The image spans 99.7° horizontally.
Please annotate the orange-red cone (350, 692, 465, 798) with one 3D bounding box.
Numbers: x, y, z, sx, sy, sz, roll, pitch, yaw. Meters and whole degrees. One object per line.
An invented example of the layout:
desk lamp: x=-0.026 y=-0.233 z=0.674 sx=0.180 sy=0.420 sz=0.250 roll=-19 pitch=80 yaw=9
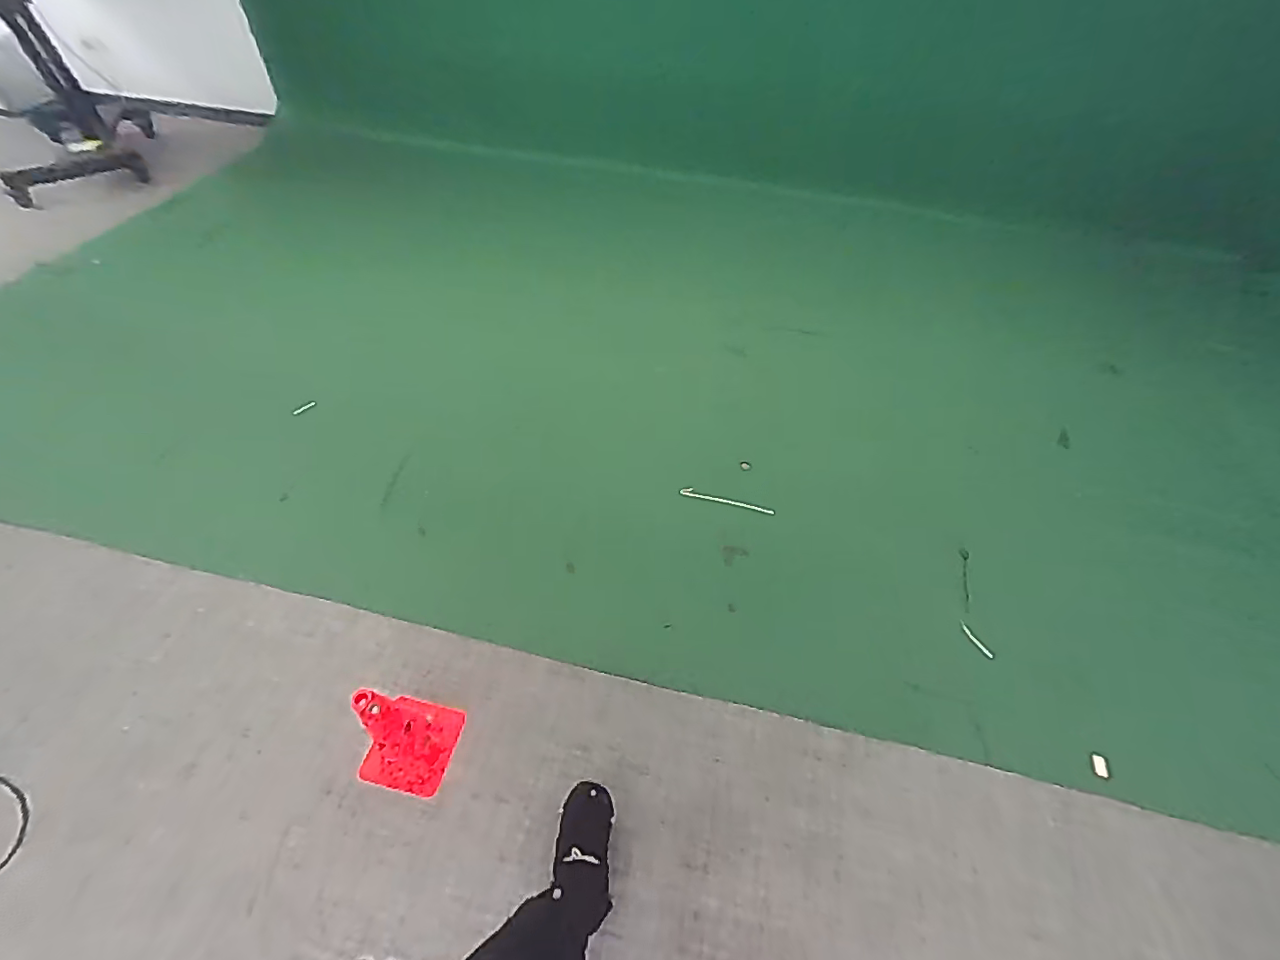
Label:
orange-red cone: x=-0.549 y=0.544 z=1.191 sx=0.198 sy=0.360 sz=0.199 roll=11 pitch=52 yaw=8
